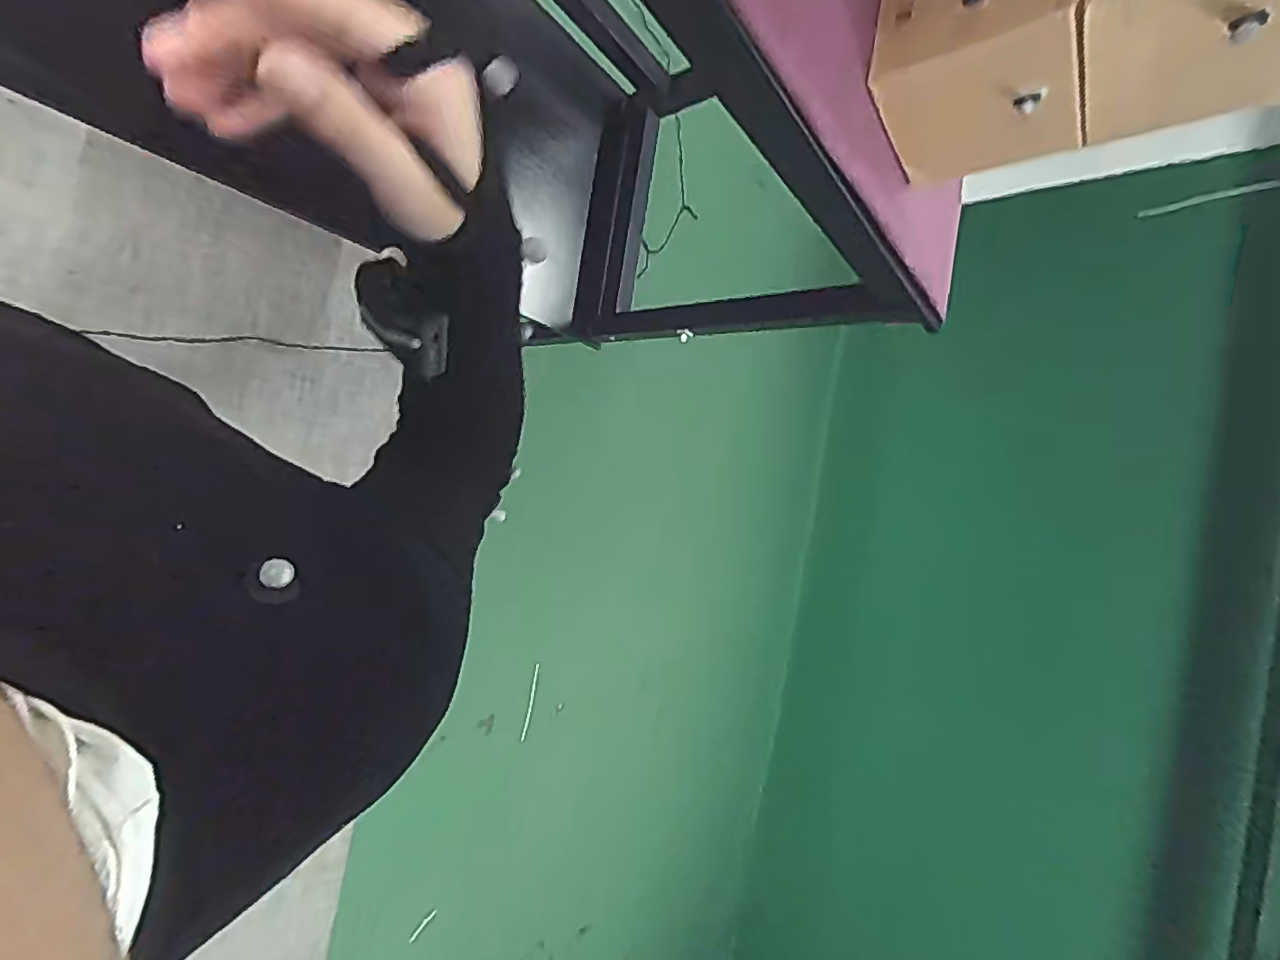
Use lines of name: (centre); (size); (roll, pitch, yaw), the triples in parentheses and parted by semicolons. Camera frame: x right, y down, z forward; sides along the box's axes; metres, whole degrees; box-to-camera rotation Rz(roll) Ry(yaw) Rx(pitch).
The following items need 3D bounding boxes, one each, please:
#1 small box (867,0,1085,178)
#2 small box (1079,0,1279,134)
small box: (0.343, -0.439, 0.540); (0.179, 0.176, 0.168); (17, 83, -49)
small box: (0.467, -0.422, 0.434); (0.179, 0.176, 0.168); (15, 86, -48)
